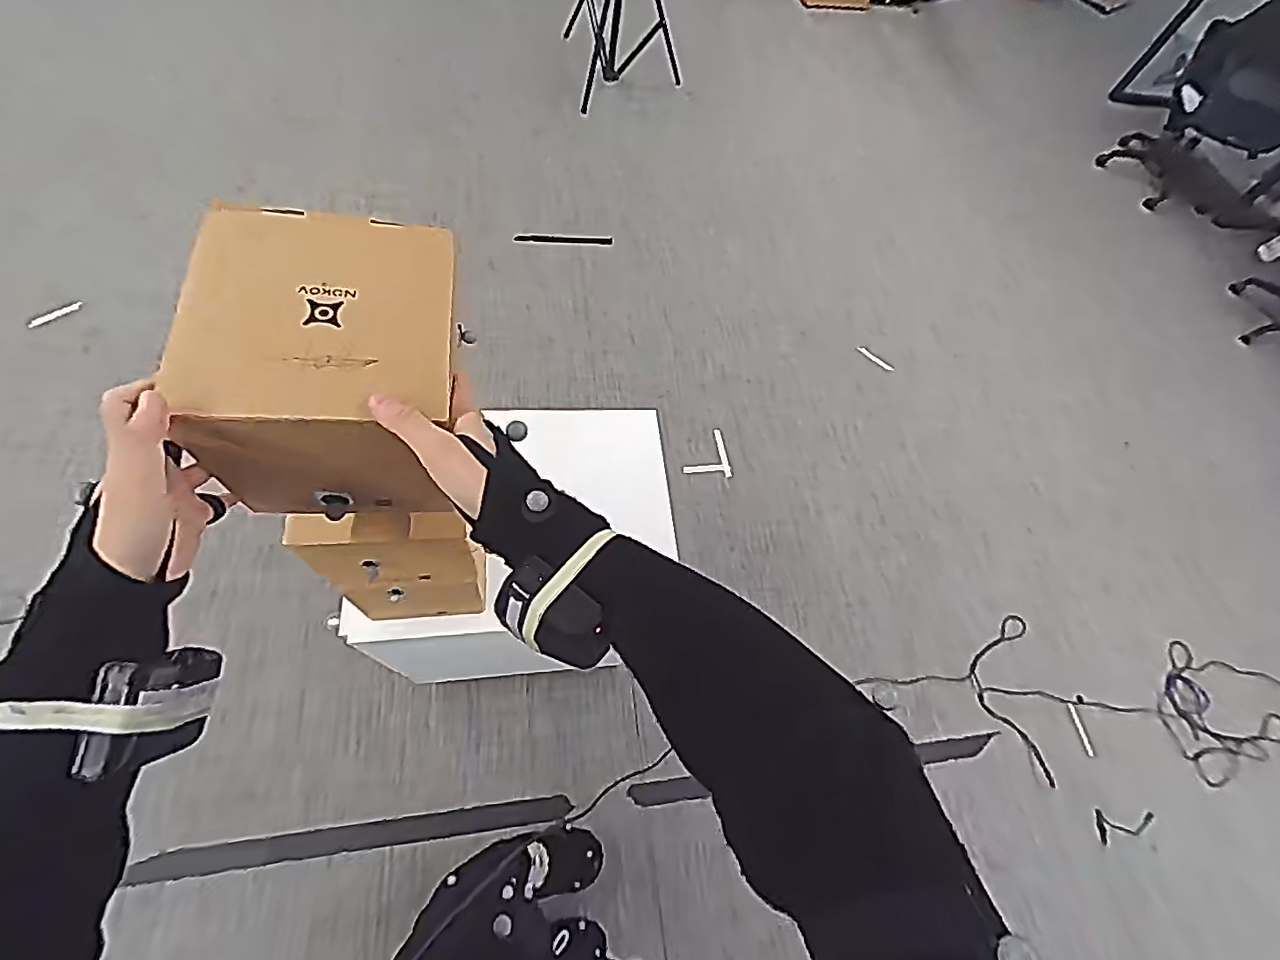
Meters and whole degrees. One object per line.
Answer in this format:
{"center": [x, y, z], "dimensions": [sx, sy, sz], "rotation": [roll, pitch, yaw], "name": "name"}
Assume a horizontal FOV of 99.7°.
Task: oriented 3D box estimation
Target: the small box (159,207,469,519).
{"center": [-0.229, -0.080, 0.435], "dimensions": [0.168, 0.176, 0.179], "rotation": [-2, 67, -16], "name": "small box"}

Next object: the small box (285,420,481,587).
{"center": [-0.274, 0.019, 0.621], "dimensions": [0.168, 0.176, 0.179], "rotation": [-3, 64, -13], "name": "small box"}

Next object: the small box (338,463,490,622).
{"center": [-0.304, 0.090, 0.765], "dimensions": [0.168, 0.176, 0.179], "rotation": [-1, 63, -12], "name": "small box"}
